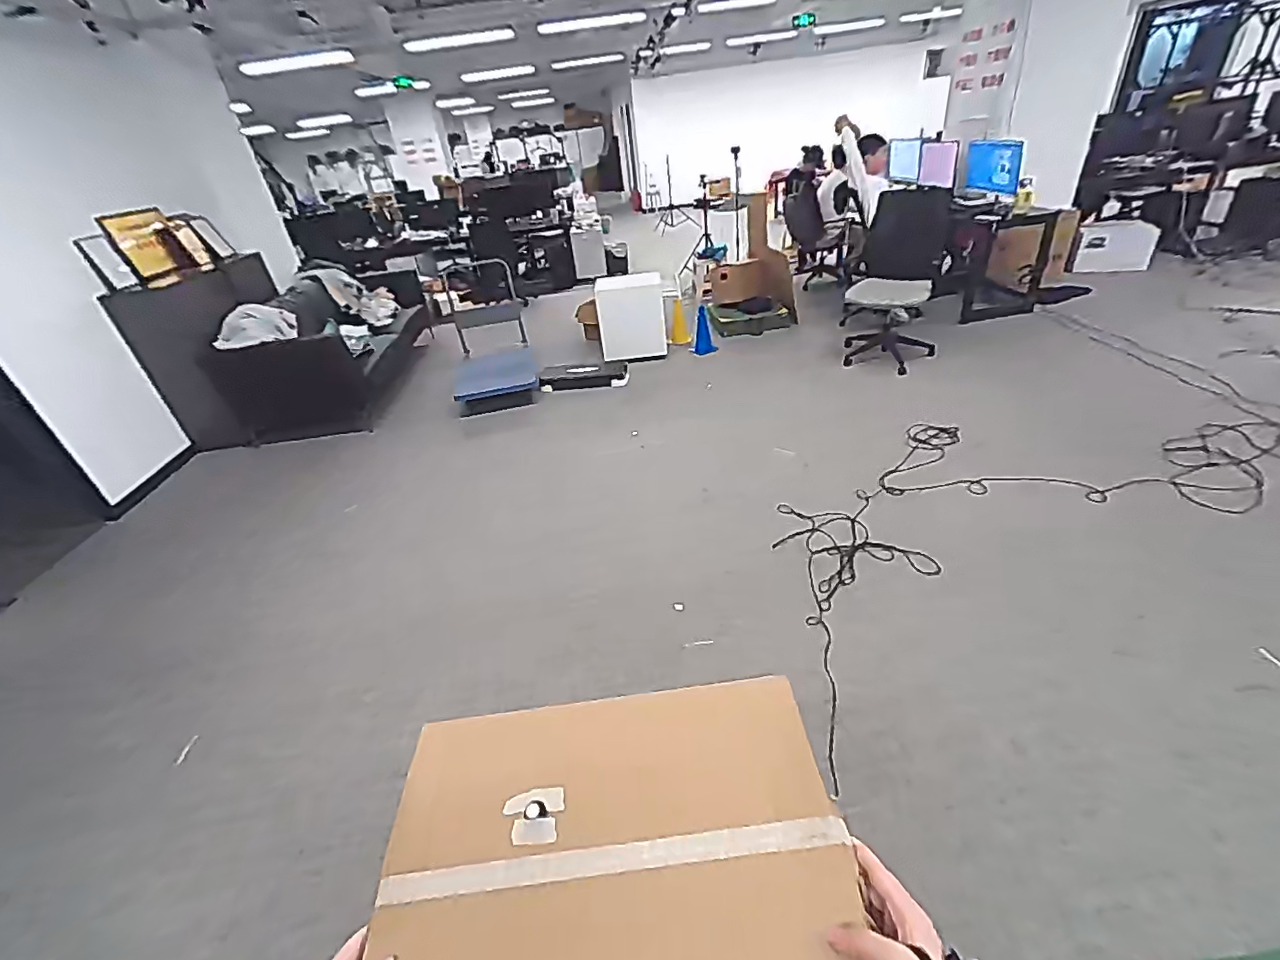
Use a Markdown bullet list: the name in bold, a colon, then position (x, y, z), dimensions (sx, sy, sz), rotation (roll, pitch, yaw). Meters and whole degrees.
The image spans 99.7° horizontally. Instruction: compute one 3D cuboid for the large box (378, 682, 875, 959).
- **large box**: position (0.000, 0.461, 0.565), dimensions (0.408, 0.320, 0.320), rotation (-10, 36, 3)
